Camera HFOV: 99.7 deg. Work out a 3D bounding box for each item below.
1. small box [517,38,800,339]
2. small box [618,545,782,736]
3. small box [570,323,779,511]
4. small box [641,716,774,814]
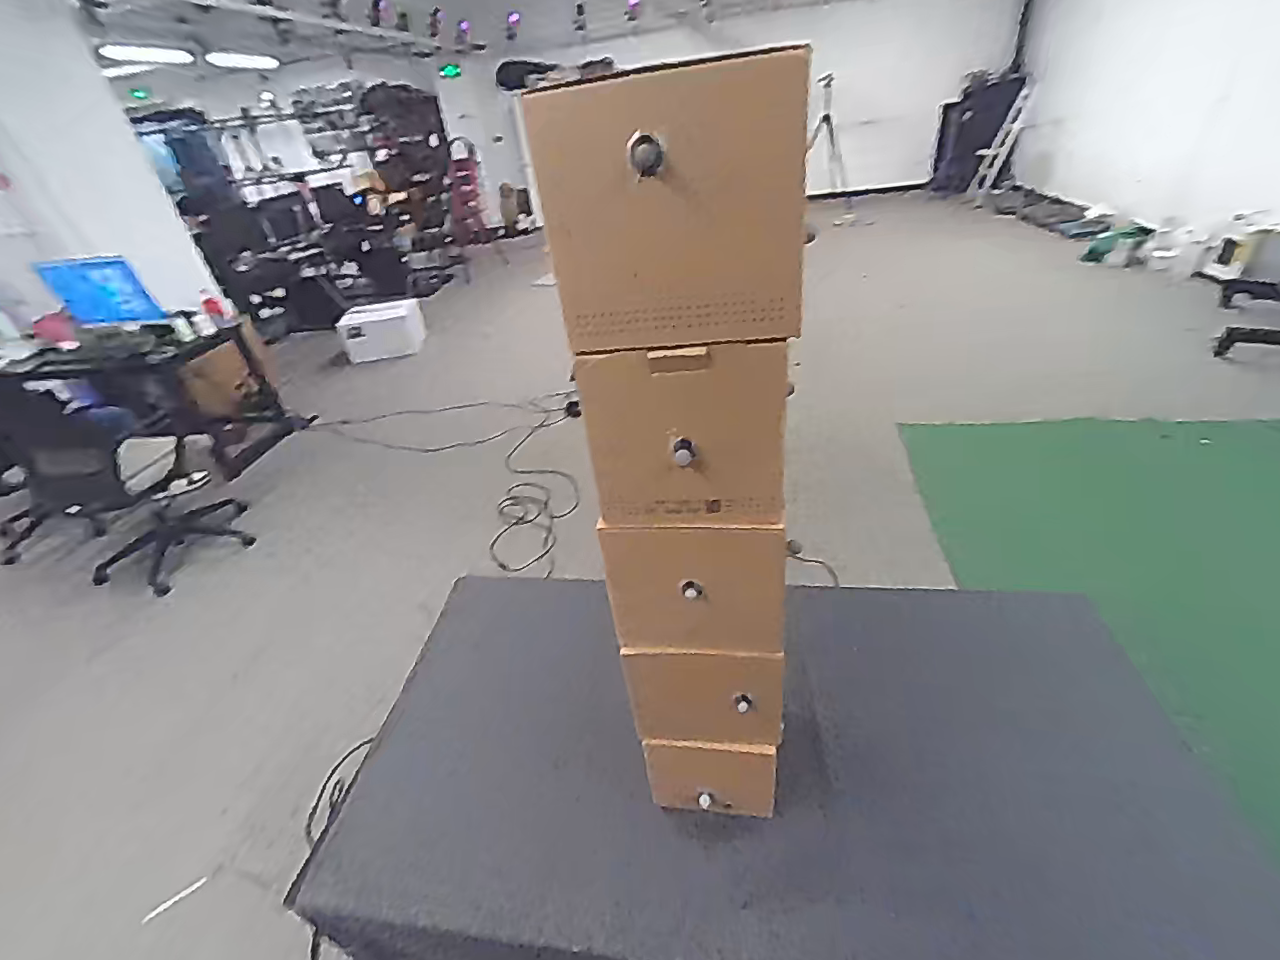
[{"bbox_3d":[0.029,-0.218,0.428,0.179,0.176,0.168,-1,33,11],"label":"small box"},{"bbox_3d":[0.080,0.200,0.683,0.179,0.176,0.168,-2,33,9],"label":"small box"},{"bbox_3d":[0.045,-0.081,0.521,0.168,0.176,0.179,-1,34,10],"label":"small box"},{"bbox_3d":[0.101,0.336,0.770,0.168,0.176,0.179,0,35,11],"label":"small box"}]
